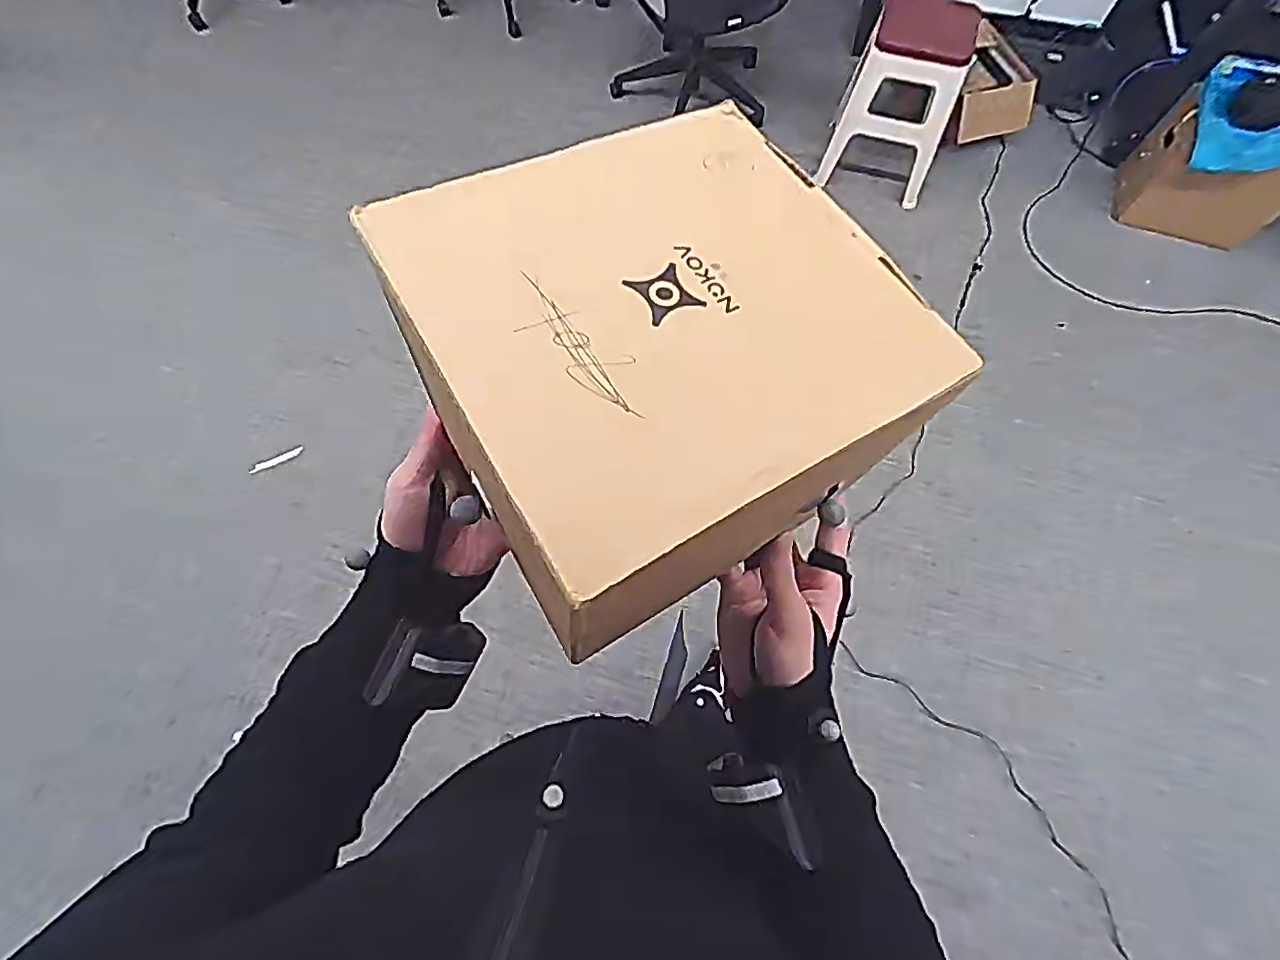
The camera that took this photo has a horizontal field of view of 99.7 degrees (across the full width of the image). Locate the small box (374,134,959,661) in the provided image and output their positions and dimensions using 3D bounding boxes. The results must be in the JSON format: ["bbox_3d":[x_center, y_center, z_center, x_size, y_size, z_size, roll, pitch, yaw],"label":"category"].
[{"bbox_3d":[0.003,-0.028,0.280,0.179,0.176,0.168,-29,71,-17],"label":"small box"}]
